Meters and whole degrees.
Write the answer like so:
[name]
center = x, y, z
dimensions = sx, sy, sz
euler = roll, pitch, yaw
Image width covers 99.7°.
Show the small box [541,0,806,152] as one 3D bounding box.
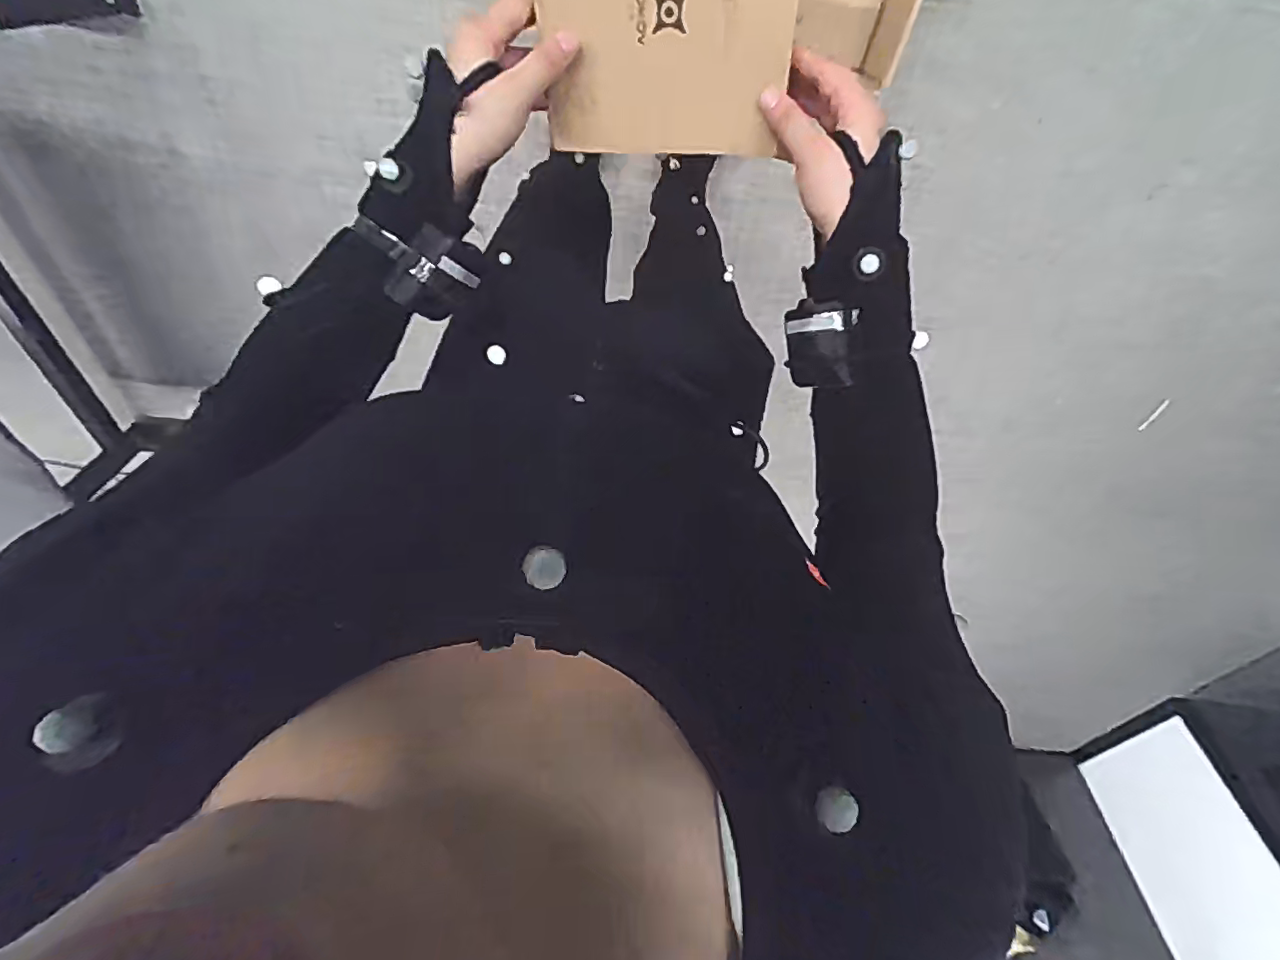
[small box]
center = 0.028, -0.366, 0.409
dimensions = 0.179, 0.176, 0.168
euler = 2, 137, 5
